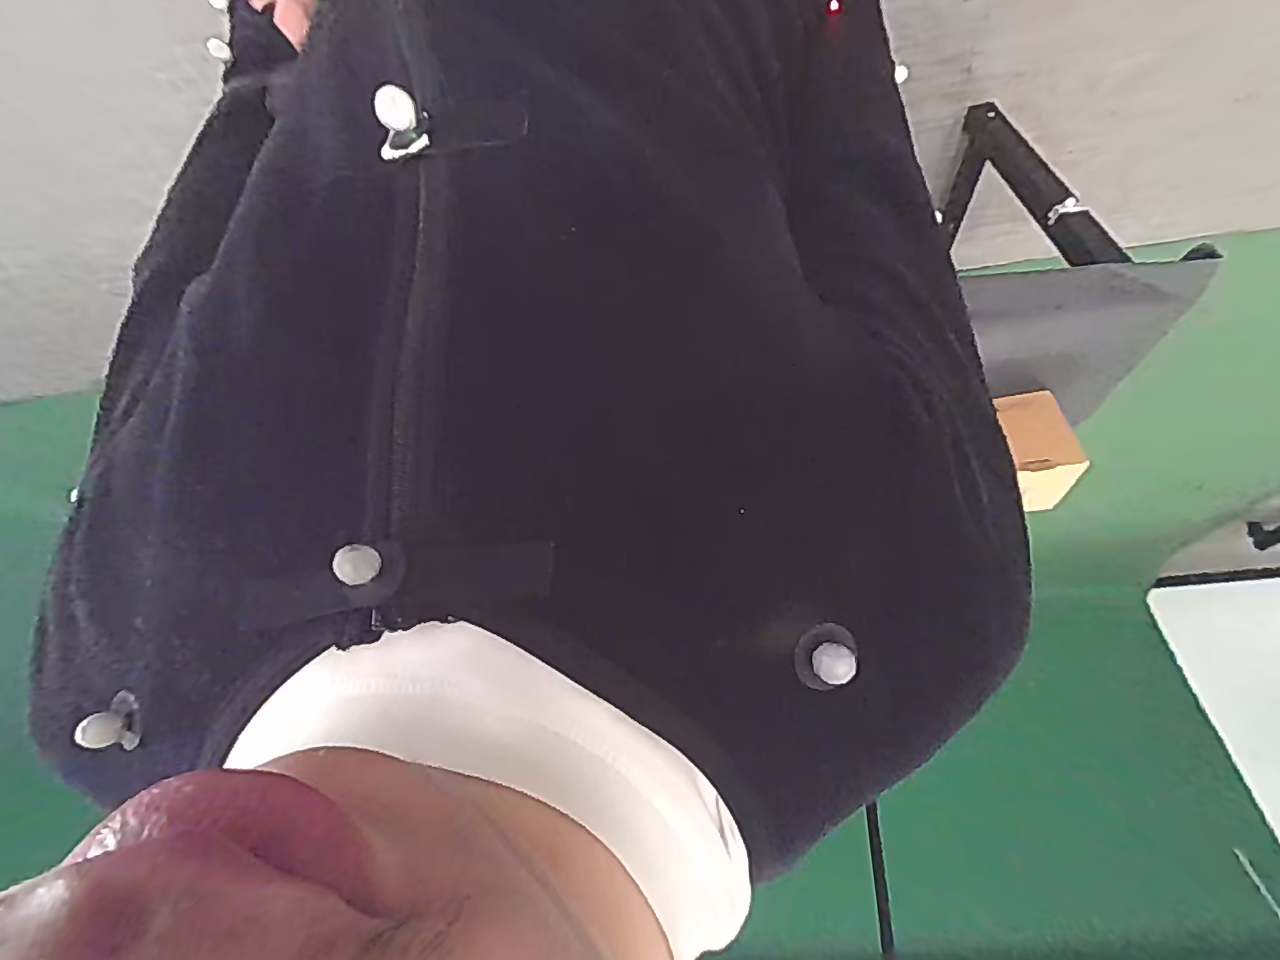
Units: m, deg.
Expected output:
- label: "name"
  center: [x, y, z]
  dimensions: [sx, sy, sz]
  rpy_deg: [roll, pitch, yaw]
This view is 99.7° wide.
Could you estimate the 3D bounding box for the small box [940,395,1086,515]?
- label: "small box"
  center: [0.717, -0.053, 1.066]
  dimensions: [0.168, 0.176, 0.179]
  rpy_deg: [-9, 148, 11]
